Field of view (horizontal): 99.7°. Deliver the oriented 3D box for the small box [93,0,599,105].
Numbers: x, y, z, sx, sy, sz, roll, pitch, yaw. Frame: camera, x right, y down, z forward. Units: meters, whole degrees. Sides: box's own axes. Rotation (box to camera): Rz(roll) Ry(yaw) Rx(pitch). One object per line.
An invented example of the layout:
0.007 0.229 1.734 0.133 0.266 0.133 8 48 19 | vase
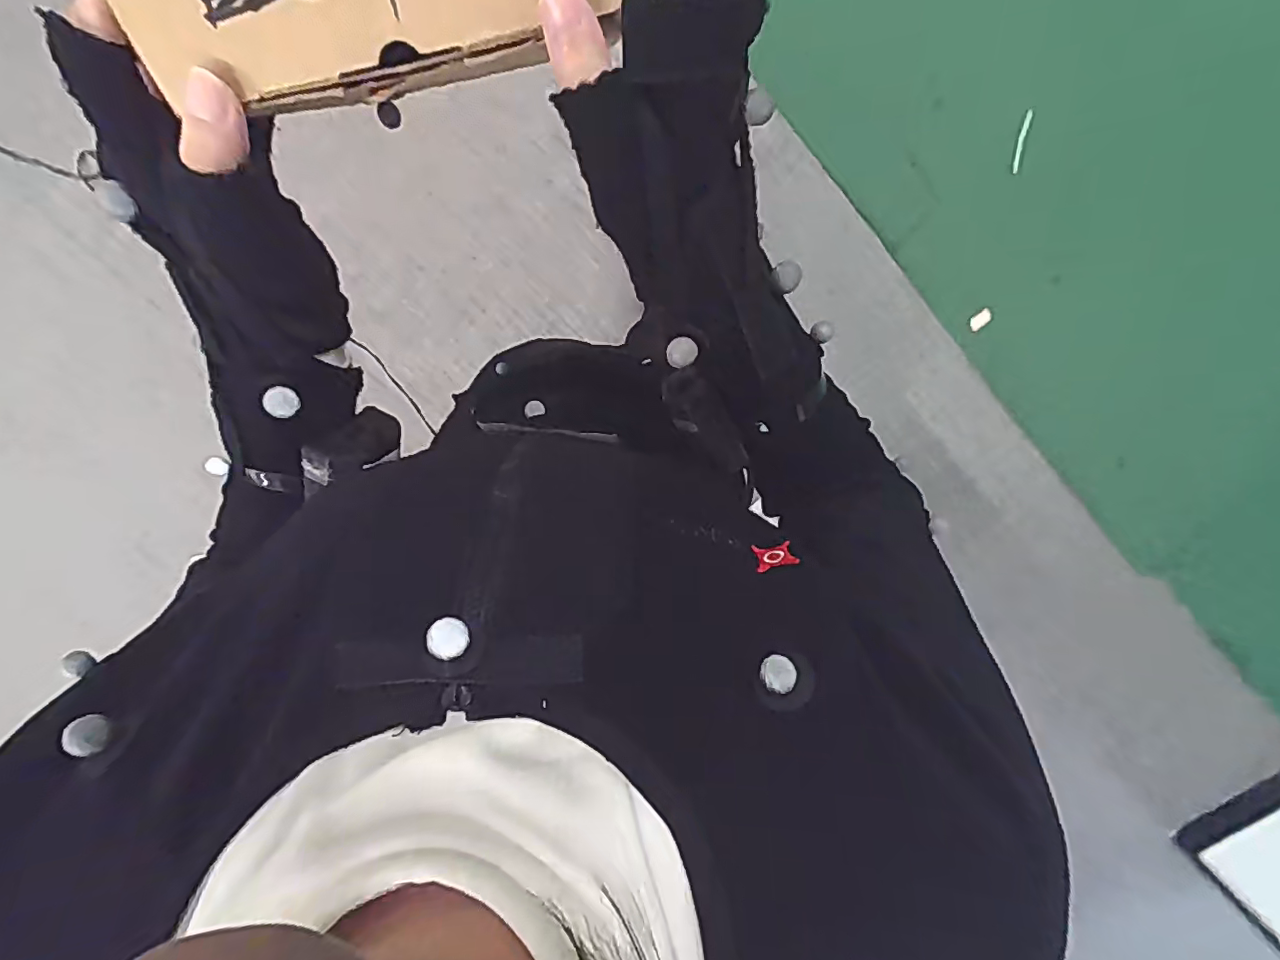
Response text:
-0.111 -0.262 0.200 0.168 0.176 0.179 -11 125 3 | small box
